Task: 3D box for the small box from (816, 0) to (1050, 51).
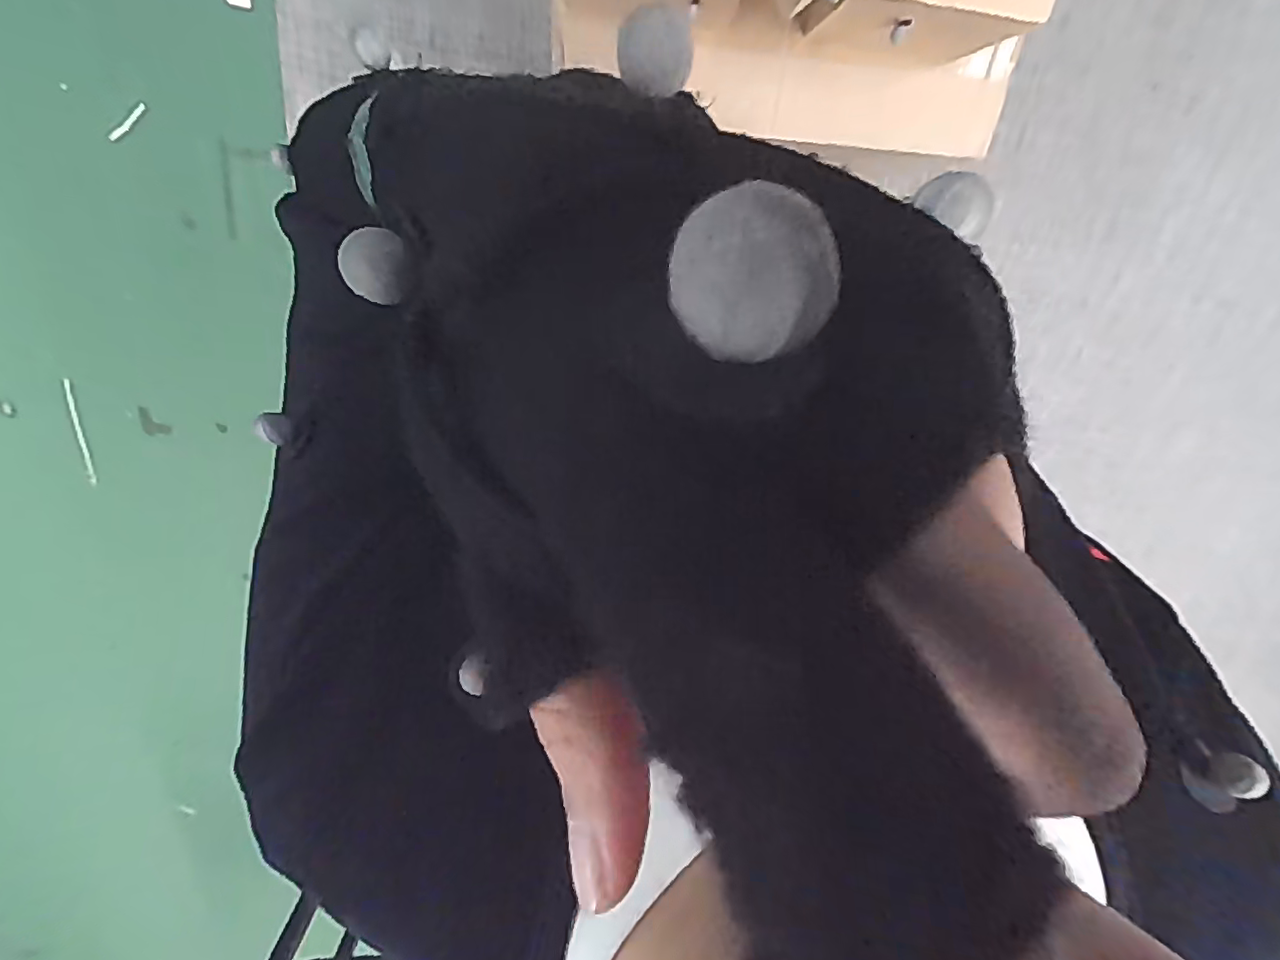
[{"bbox_3d":[0.283,-0.527,0.503,0.179,0.176,0.168,7,119,-2],"label":"small box"}]
